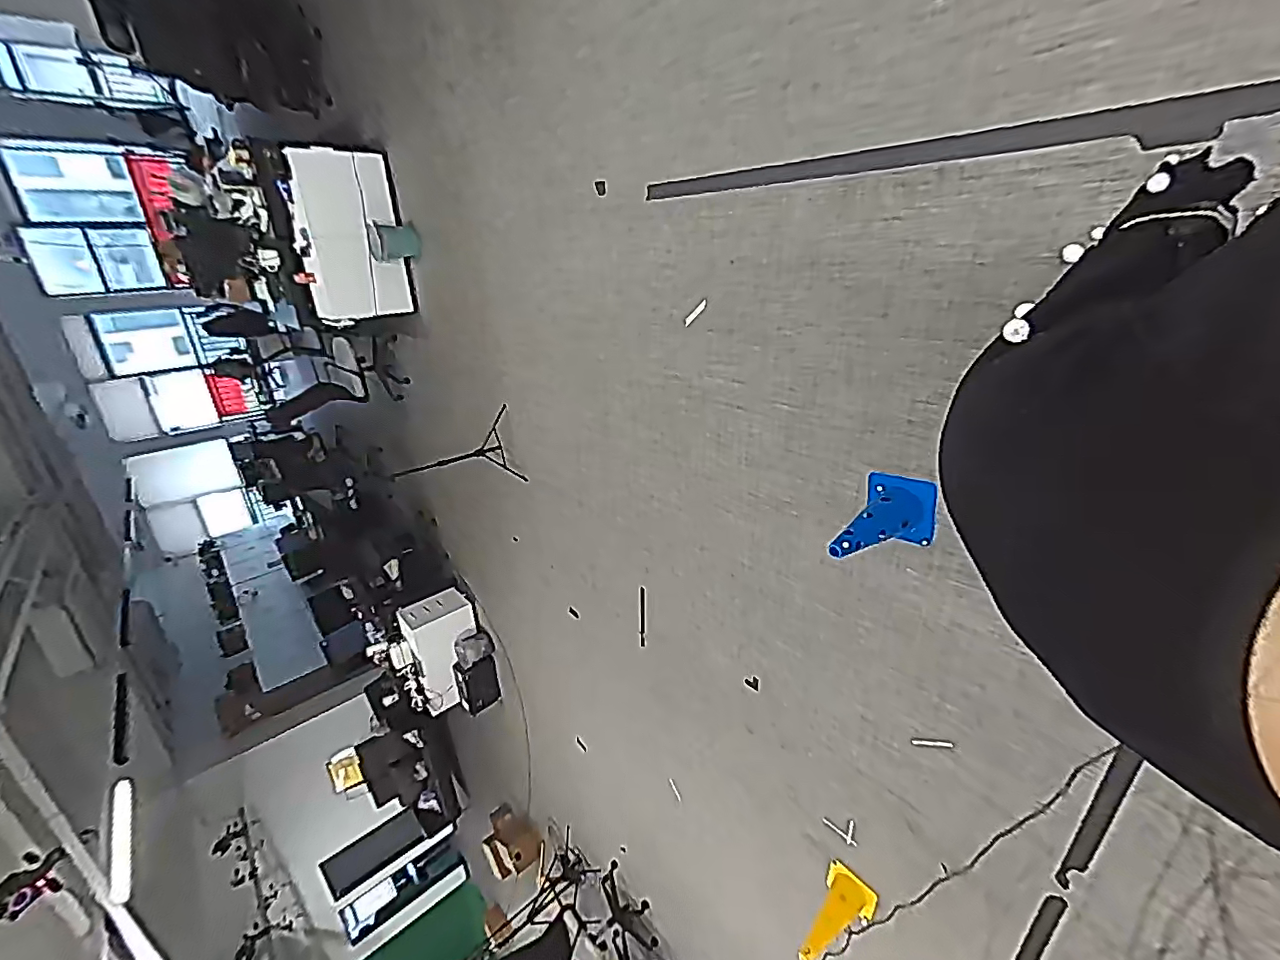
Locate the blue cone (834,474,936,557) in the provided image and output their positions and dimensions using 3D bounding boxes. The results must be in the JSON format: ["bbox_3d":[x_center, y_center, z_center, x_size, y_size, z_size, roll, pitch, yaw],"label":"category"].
[{"bbox_3d":[0.640,0.126,1.490,0.192,0.380,0.193,17,120,47],"label":"blue cone"}]
